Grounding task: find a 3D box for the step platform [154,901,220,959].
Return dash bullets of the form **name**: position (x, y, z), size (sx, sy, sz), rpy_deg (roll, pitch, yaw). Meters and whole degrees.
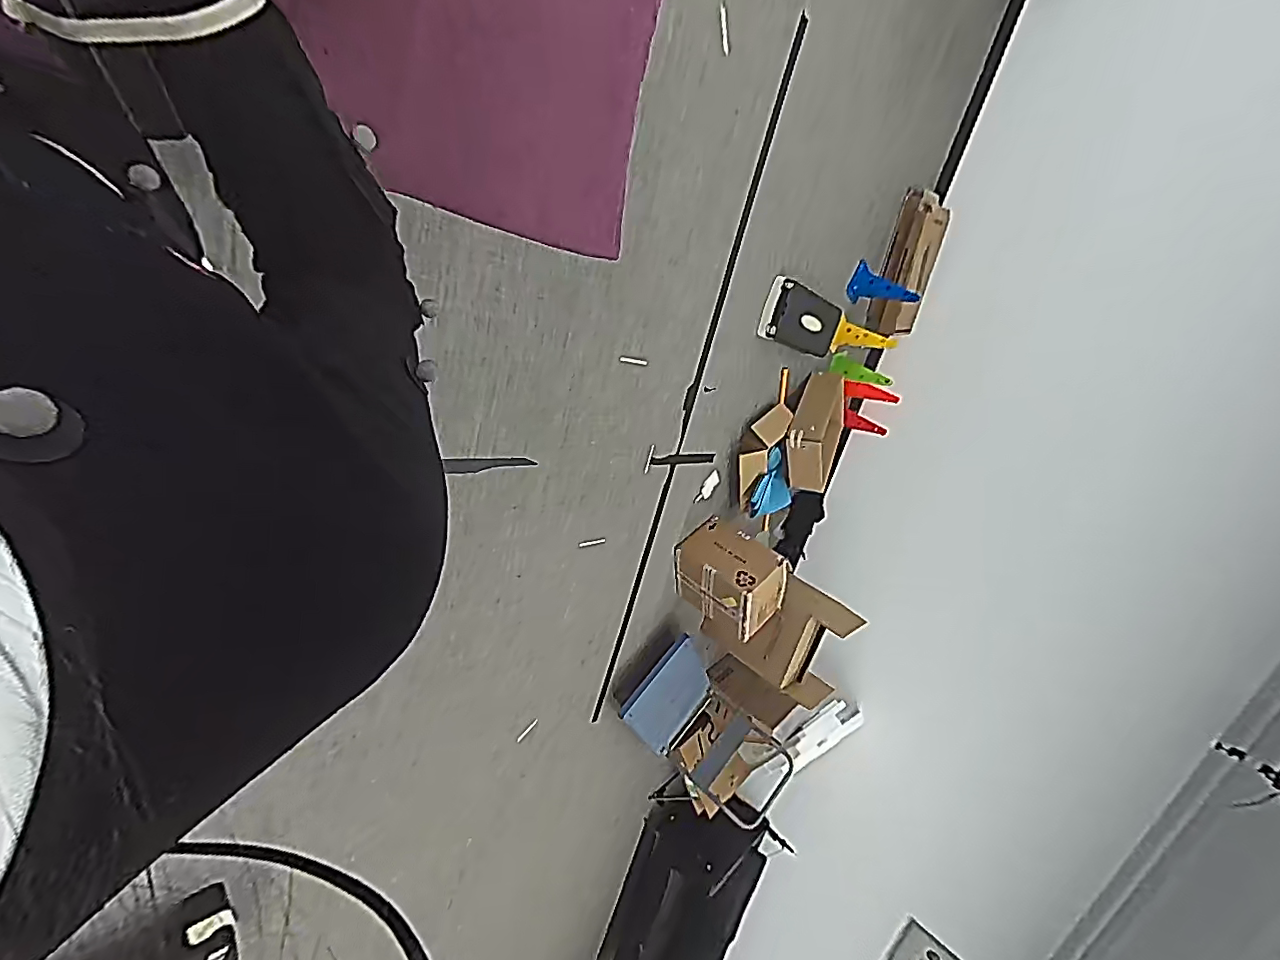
- **step platform**: position (-1.509, 1.451, 1.389), size (0.684, 0.204, 0.286), rpy_deg (-7, 119, -50)
